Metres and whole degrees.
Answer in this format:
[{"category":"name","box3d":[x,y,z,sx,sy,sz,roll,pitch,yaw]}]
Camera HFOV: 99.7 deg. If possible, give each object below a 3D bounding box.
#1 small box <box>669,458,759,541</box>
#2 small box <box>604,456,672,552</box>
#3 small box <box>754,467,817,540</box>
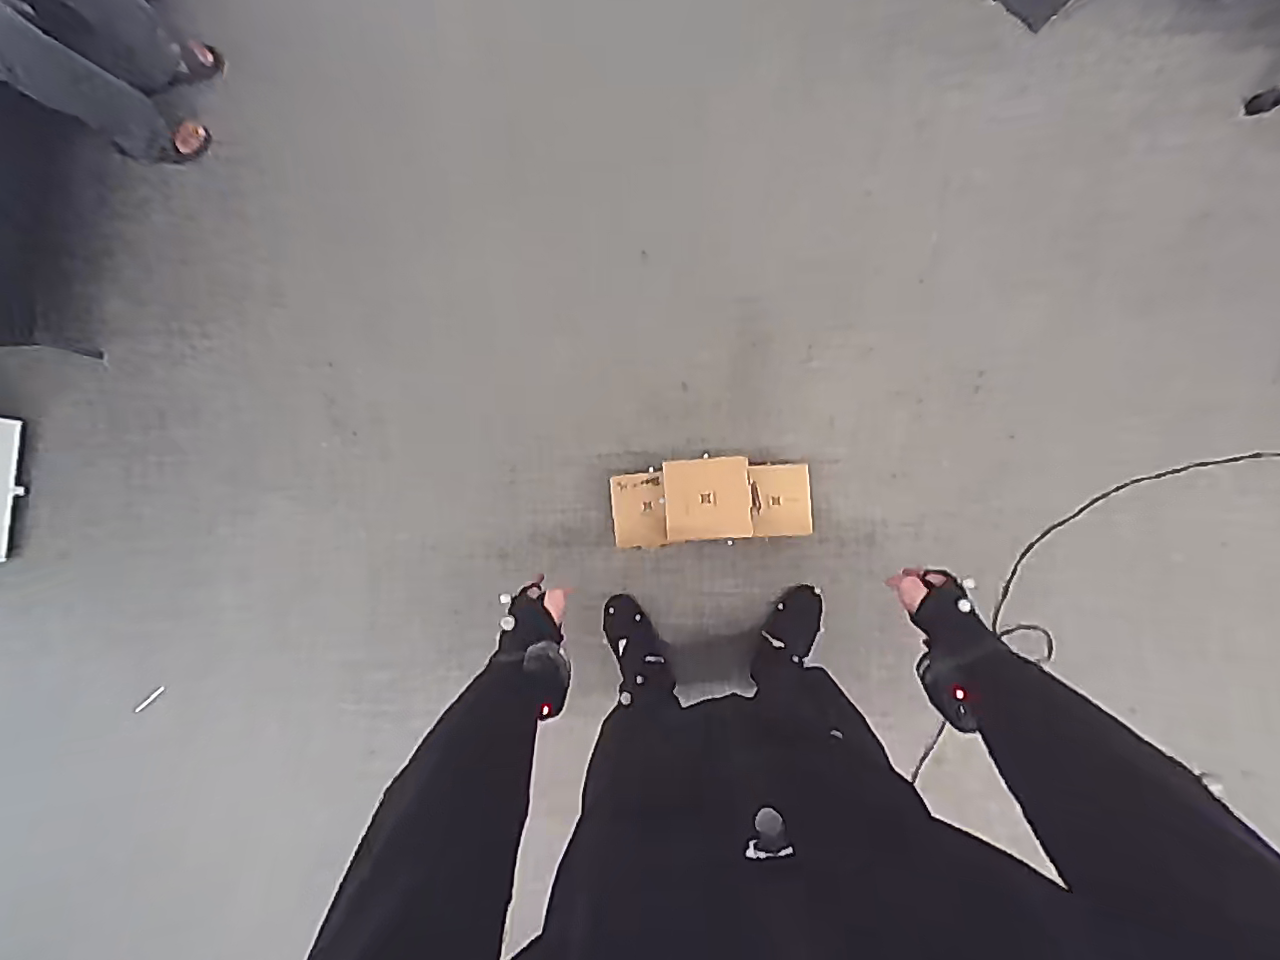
[{"category":"small box","box3d":[0.158,0.047,1.182,0.179,0.176,0.168,-4,83,7]},{"category":"small box","box3d":[0.040,0.066,1.348,0.179,0.176,0.168,-35,80,3]},{"category":"small box","box3d":[0.326,0.059,1.324,0.179,0.176,0.168,2,87,7]}]
